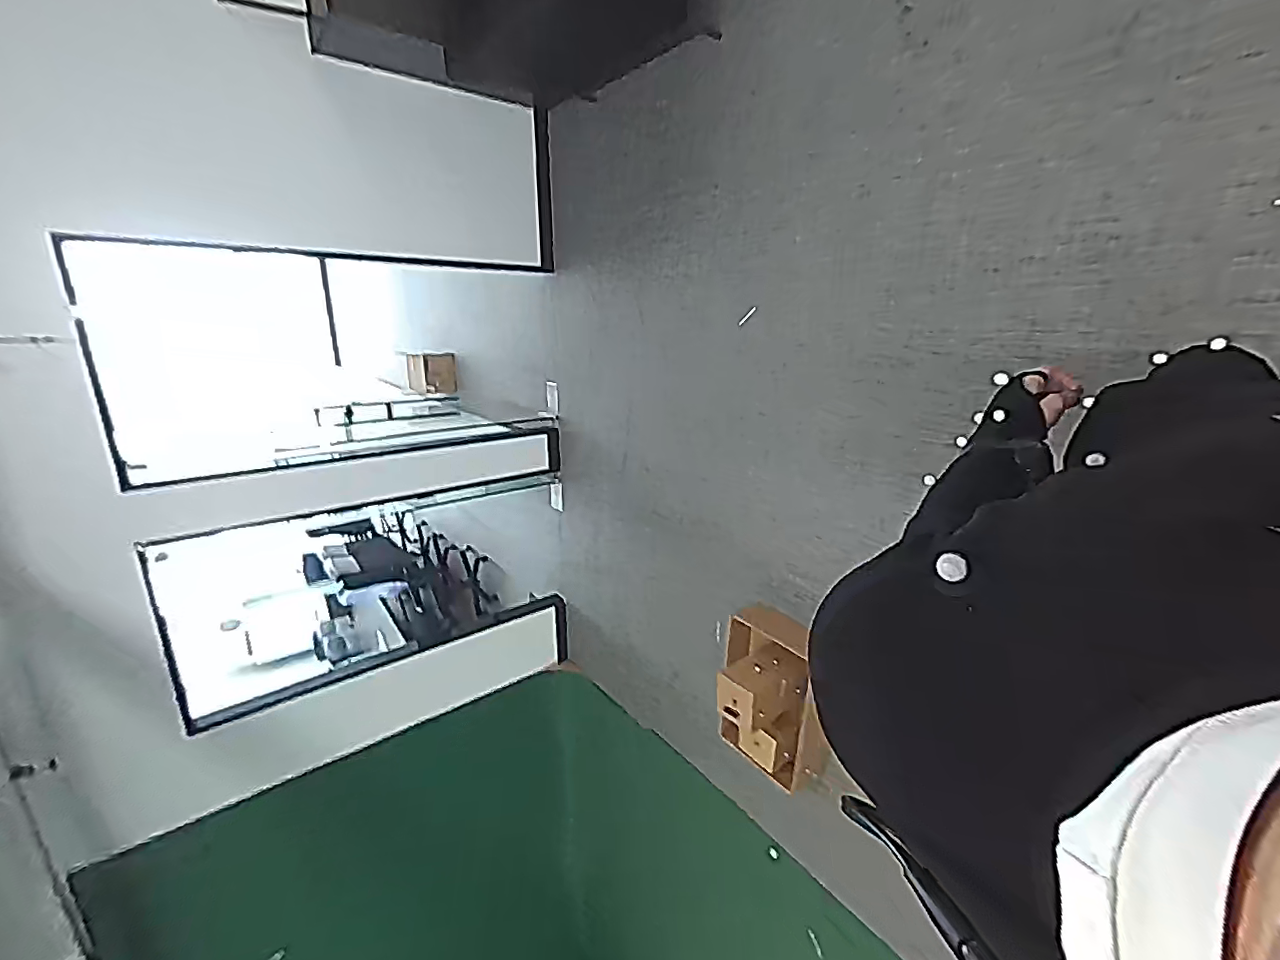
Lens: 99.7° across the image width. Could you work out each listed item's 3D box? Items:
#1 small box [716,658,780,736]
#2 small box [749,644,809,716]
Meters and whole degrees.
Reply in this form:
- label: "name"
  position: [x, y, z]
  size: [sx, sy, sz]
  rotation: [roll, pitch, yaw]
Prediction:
- label: "small box"
  position: [0.400, 0.794, 1.994]
  size: [0.168, 0.176, 0.179]
  rotation: [19, 114, 48]
- label: "small box"
  position: [0.529, 0.765, 2.093]
  size: [0.179, 0.176, 0.168]
  rotation: [25, 119, 46]
